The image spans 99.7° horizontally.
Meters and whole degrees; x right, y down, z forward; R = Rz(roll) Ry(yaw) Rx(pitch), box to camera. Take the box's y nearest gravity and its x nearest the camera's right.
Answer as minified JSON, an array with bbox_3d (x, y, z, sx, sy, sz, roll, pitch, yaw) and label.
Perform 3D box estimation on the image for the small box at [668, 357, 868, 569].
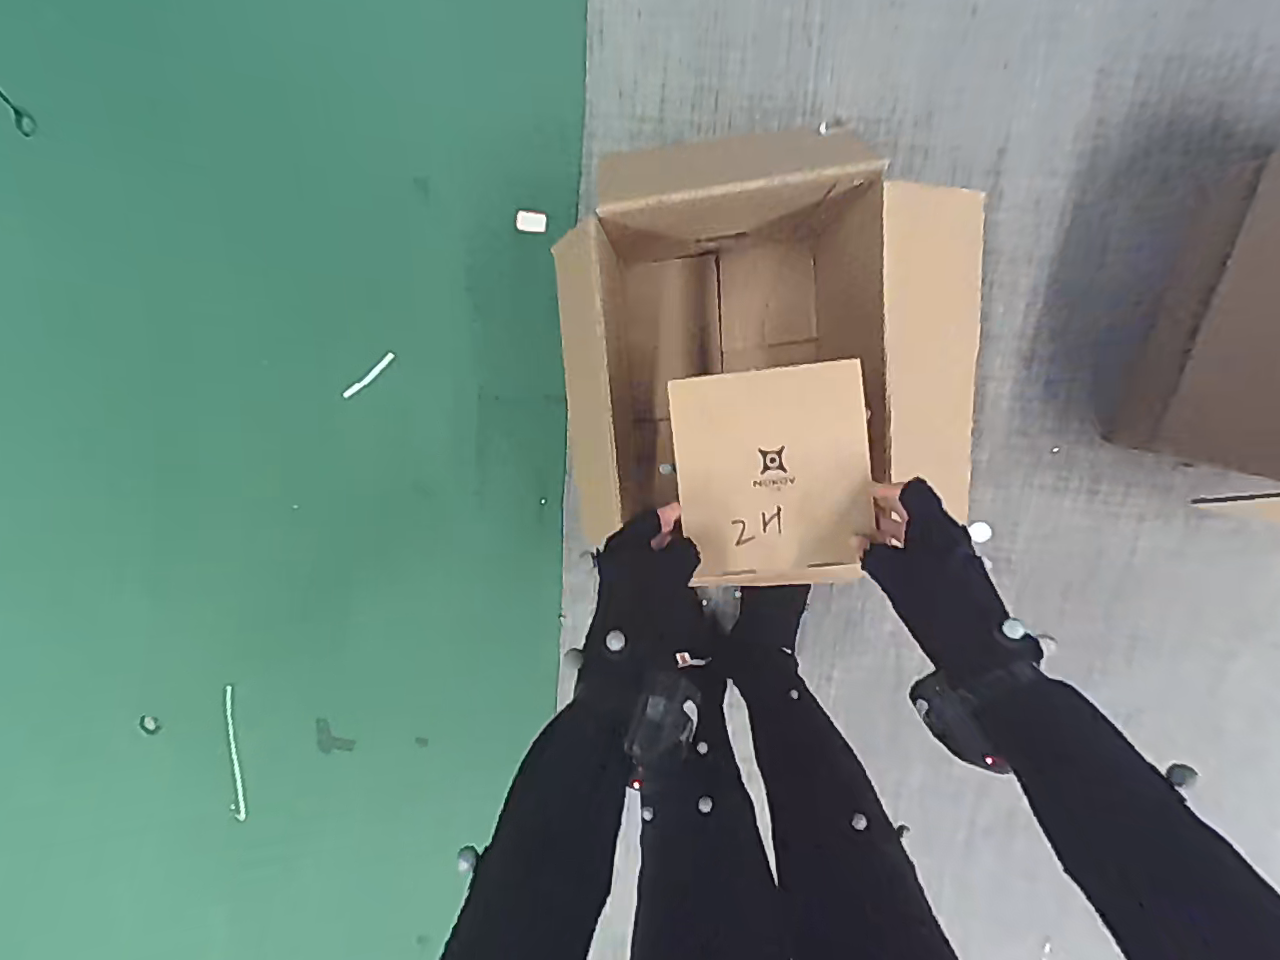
[{"bbox_3d":[0.116,-0.016,0.551,0.168,0.176,0.179,-5,92,5],"label":"small box"}]
